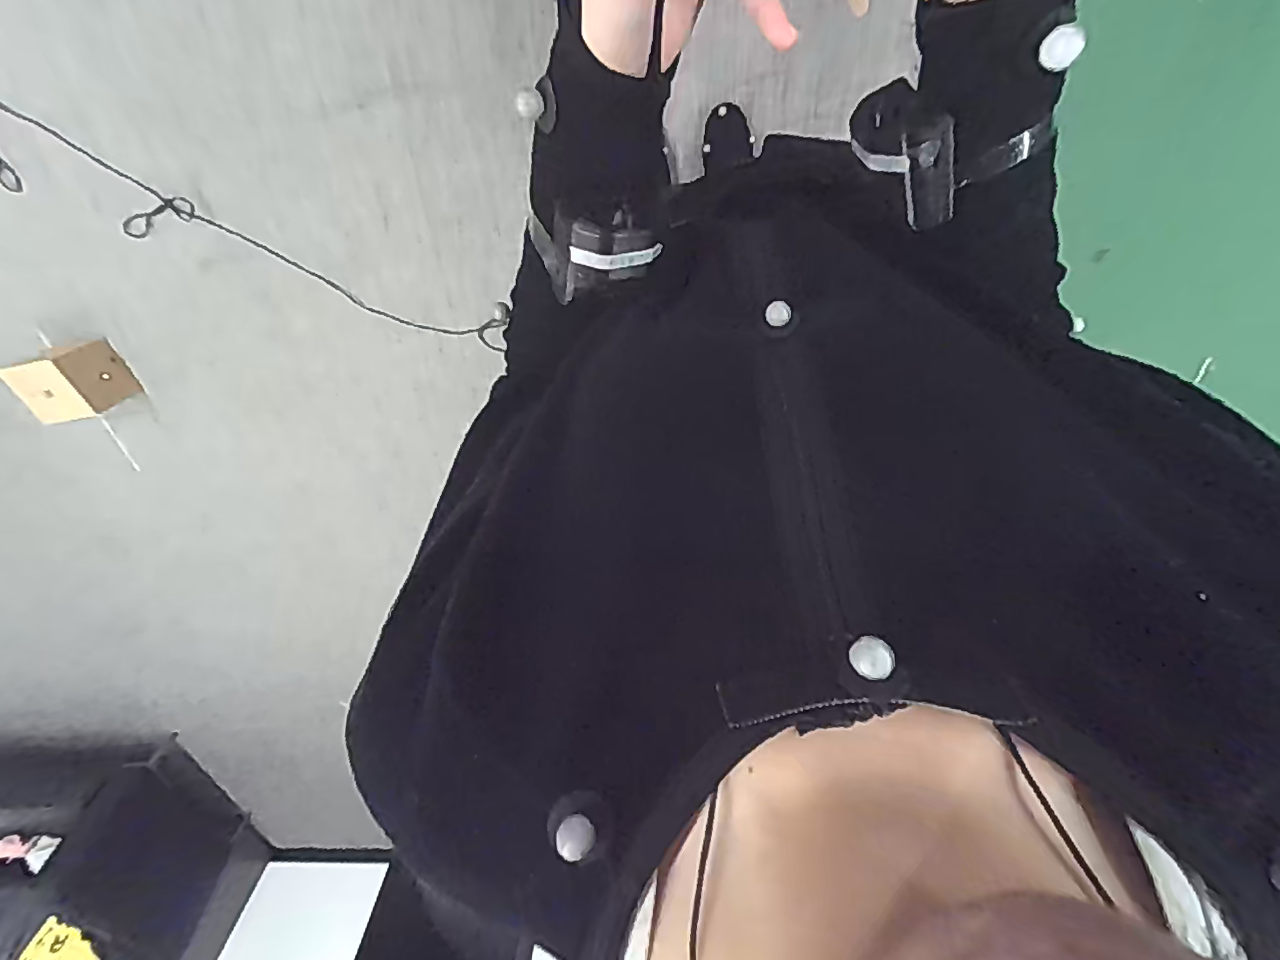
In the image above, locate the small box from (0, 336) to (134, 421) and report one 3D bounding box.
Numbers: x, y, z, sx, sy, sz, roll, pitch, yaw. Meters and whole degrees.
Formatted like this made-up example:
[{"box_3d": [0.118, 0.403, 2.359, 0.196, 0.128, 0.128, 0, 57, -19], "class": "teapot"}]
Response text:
[{"box_3d": [-1.569, -0.285, 1.495, 0.179, 0.176, 0.168, -7, 124, 8], "class": "small box"}]
